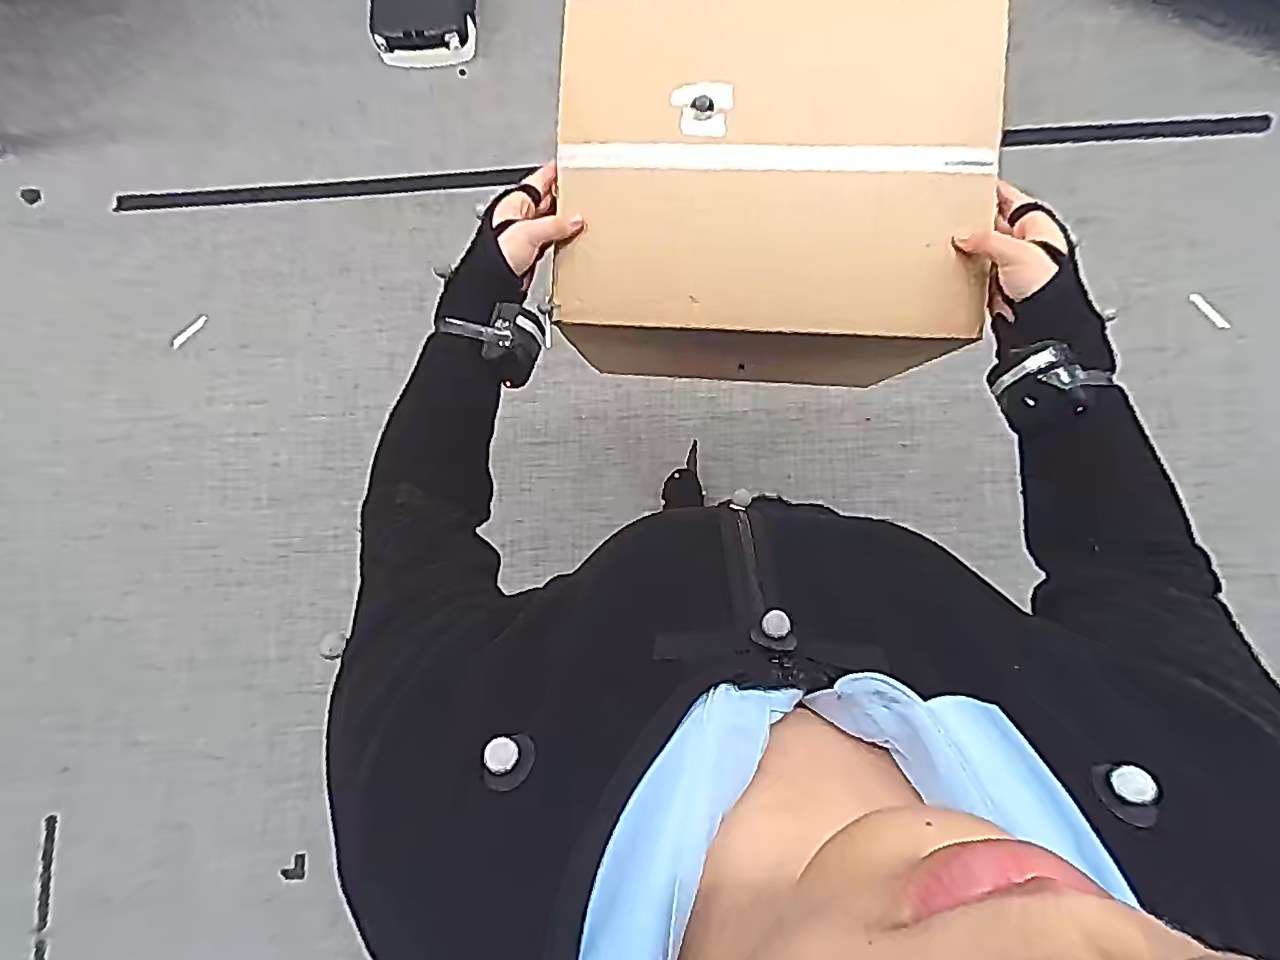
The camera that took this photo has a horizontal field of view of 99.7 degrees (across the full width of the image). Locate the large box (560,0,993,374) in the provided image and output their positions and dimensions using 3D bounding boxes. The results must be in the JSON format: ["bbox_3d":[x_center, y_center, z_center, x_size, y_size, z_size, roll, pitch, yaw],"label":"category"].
[{"bbox_3d":[0.137,-0.308,0.665,0.408,0.320,0.320,3,91,5],"label":"large box"}]
